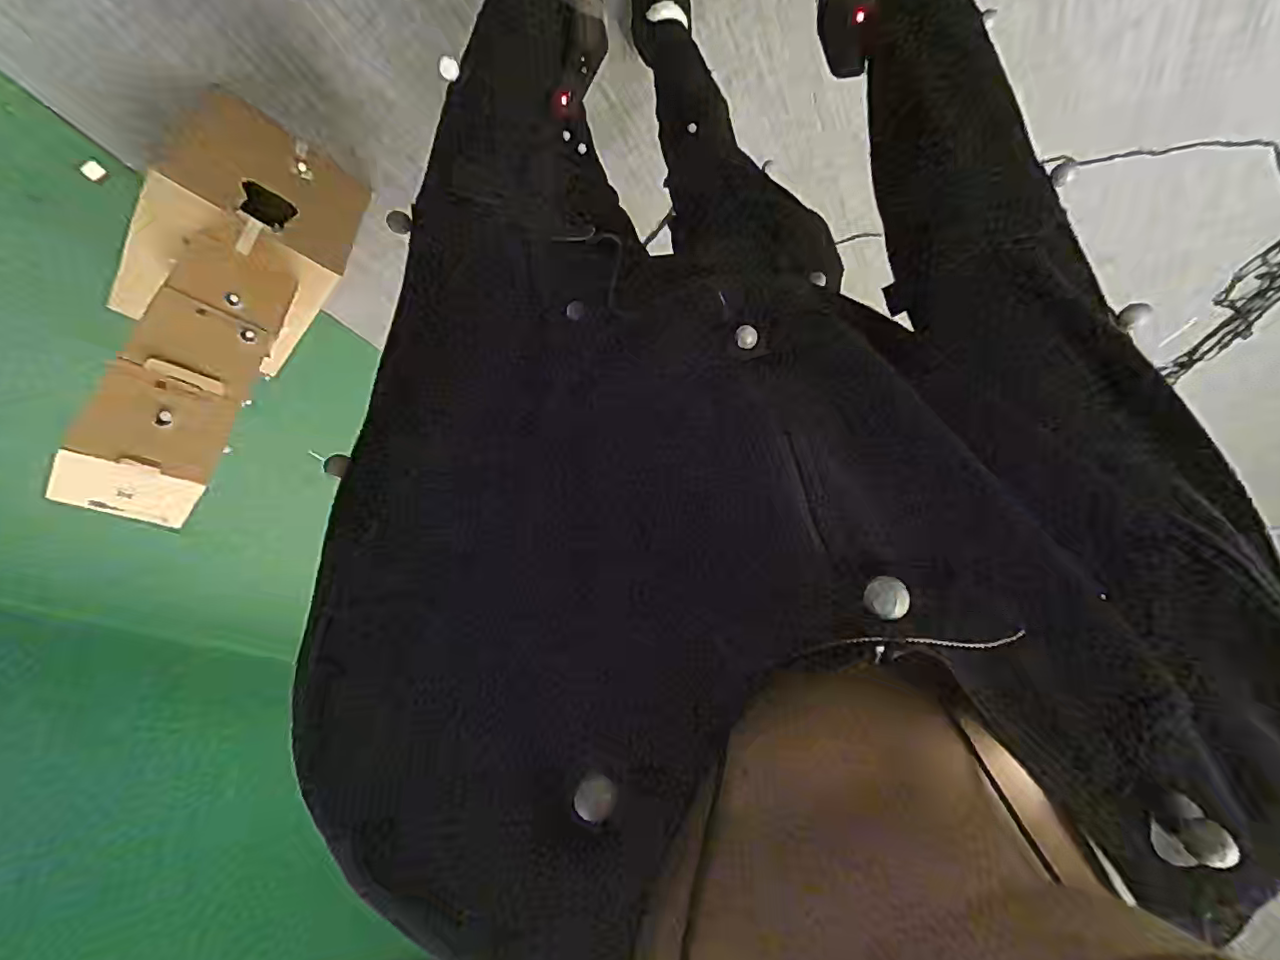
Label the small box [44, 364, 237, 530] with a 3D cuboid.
[{"bbox_3d":[-0.772,-0.050,0.850,0.179,0.176,0.168,-31,138,33],"label":"small box"}]

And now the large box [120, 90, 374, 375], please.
[{"bbox_3d":[-0.843,-0.513,1.182,0.408,0.320,0.320,-29,138,35],"label":"large box"}]

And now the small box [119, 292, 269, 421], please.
[{"bbox_3d":[-0.779,-0.188,0.940,0.179,0.176,0.168,-30,139,34],"label":"small box"}]

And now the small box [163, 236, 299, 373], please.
[{"bbox_3d":[-0.789,-0.322,1.033,0.168,0.176,0.179,-30,139,33],"label":"small box"}]
